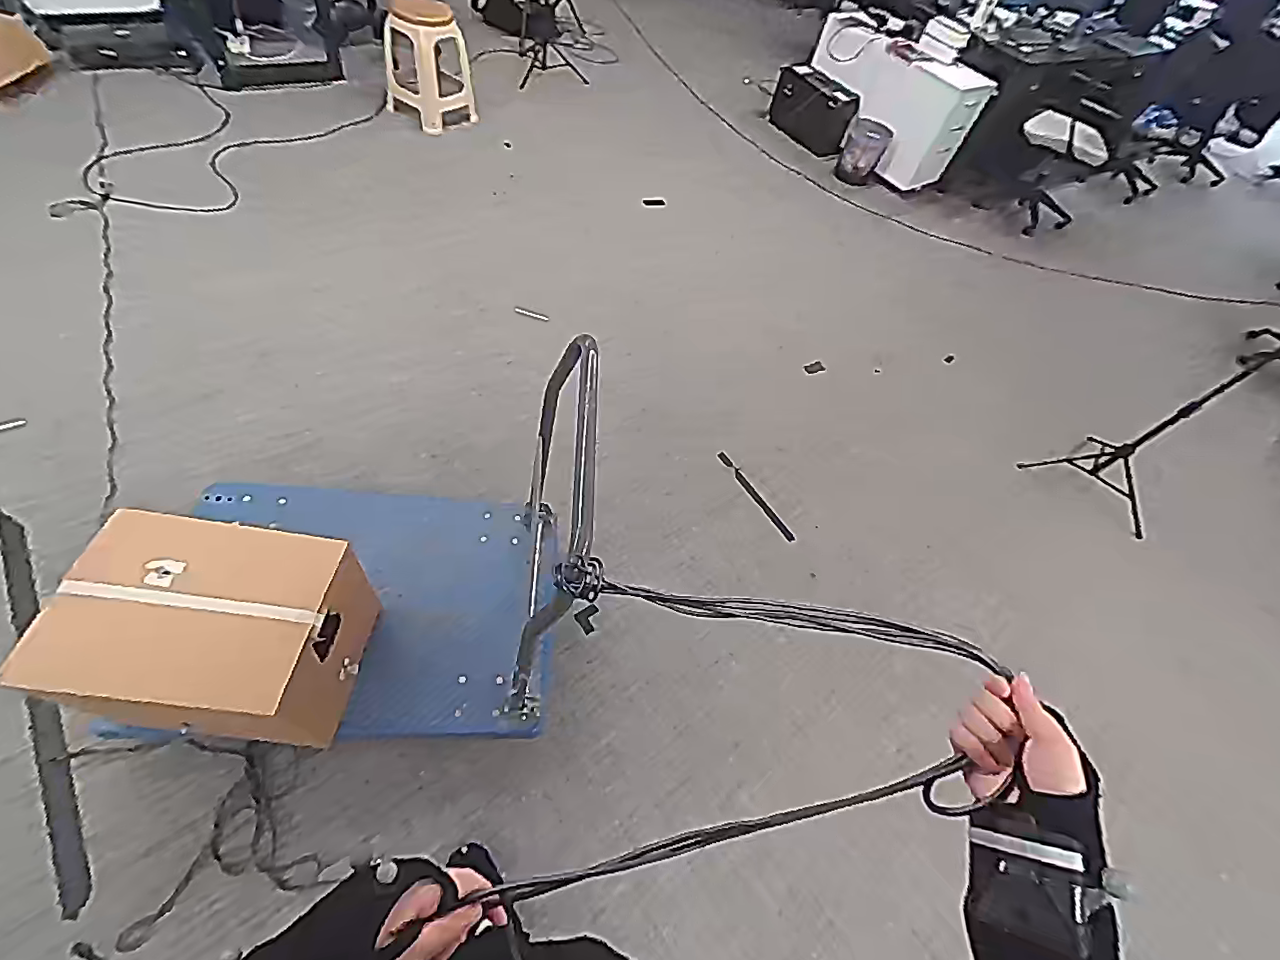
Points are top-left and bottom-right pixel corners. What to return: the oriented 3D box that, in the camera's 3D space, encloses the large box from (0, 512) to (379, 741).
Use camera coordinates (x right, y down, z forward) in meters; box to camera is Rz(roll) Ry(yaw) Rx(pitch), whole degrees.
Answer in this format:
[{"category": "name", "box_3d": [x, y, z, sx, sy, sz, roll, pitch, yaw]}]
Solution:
[{"category": "large box", "box_3d": [-0.775, 0.292, 1.026, 0.408, 0.320, 0.320, 9, 54, -6]}]
